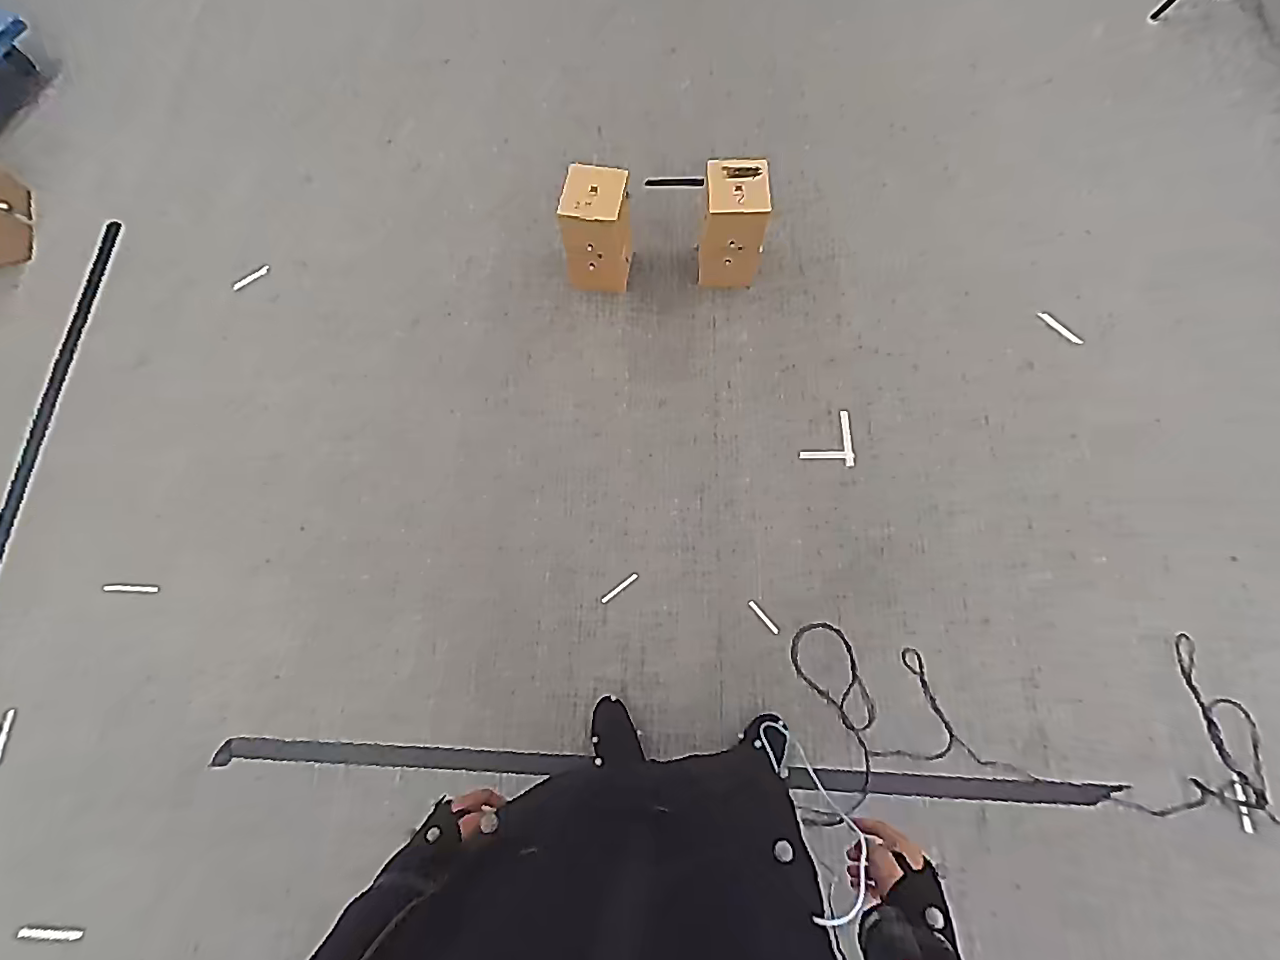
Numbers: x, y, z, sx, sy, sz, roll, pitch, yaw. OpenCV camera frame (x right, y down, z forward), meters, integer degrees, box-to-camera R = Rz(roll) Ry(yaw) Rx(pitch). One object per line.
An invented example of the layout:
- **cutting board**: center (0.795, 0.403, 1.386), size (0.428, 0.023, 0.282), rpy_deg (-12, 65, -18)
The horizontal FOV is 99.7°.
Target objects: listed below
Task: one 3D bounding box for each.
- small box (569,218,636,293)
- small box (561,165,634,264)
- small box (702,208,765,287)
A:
- **small box**: center (-0.111, -0.710, 1.699), size (0.179, 0.176, 0.168), rpy_deg (9, 75, 5)
- **small box**: center (-0.114, -0.753, 1.540), size (0.168, 0.176, 0.179), rpy_deg (10, 75, 5)
- **small box**: center (0.285, -0.722, 1.693), size (0.179, 0.176, 0.168), rpy_deg (0, 74, 0)
